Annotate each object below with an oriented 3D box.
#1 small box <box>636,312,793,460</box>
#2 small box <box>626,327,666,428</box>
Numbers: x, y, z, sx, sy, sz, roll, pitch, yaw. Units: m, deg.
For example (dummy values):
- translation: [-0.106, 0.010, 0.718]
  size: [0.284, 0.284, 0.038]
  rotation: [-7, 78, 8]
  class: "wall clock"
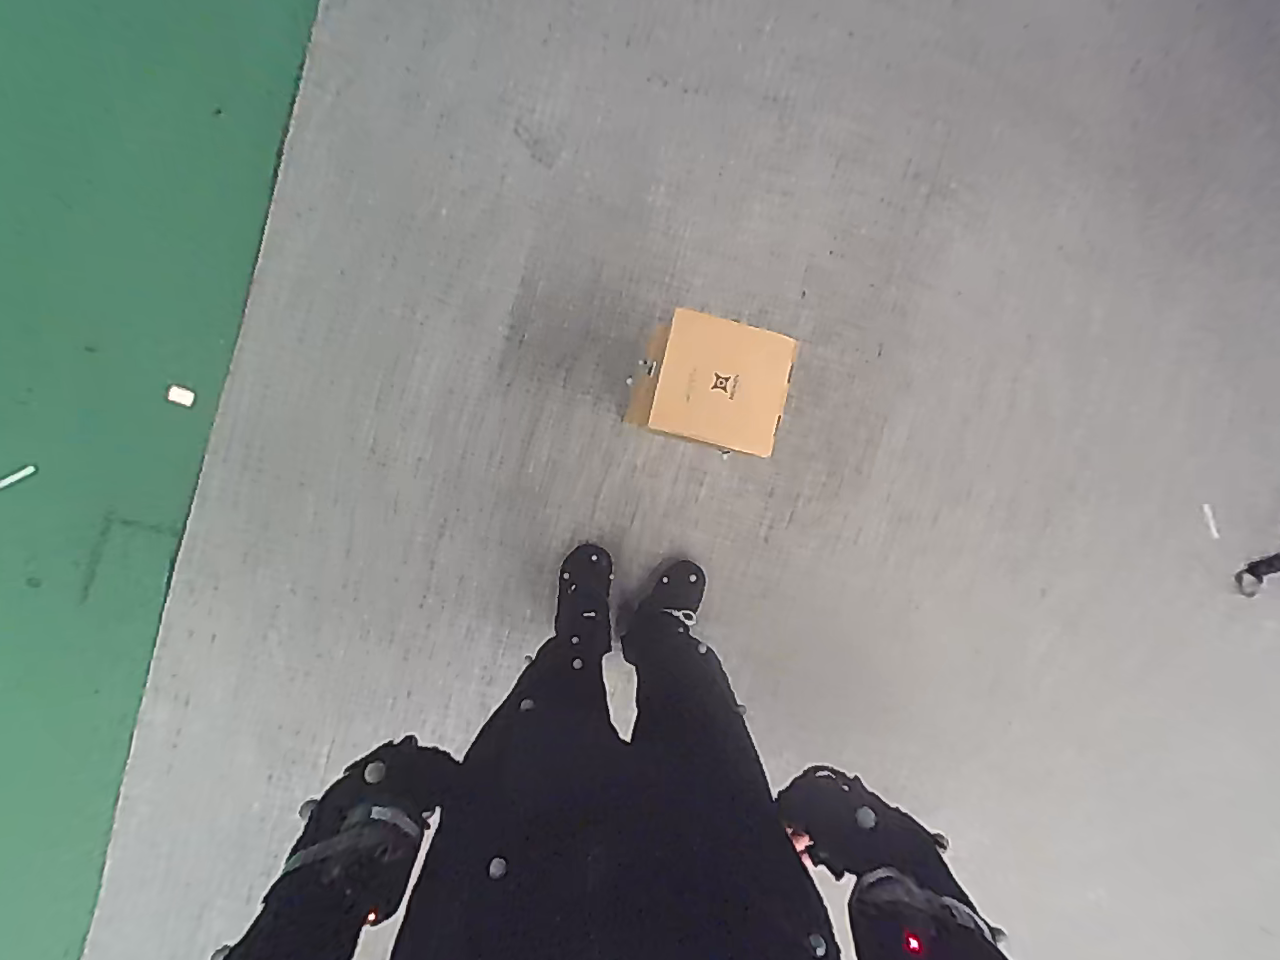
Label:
- translation: [0.099, -0.131, 0.804]
  size: [0.179, 0.176, 0.168]
  rotation: [13, 92, -5]
  class: "small box"
- translation: [0.081, -0.158, 0.964]
  size: [0.179, 0.176, 0.168]
  rotation: [12, 93, -7]
  class: "small box"
